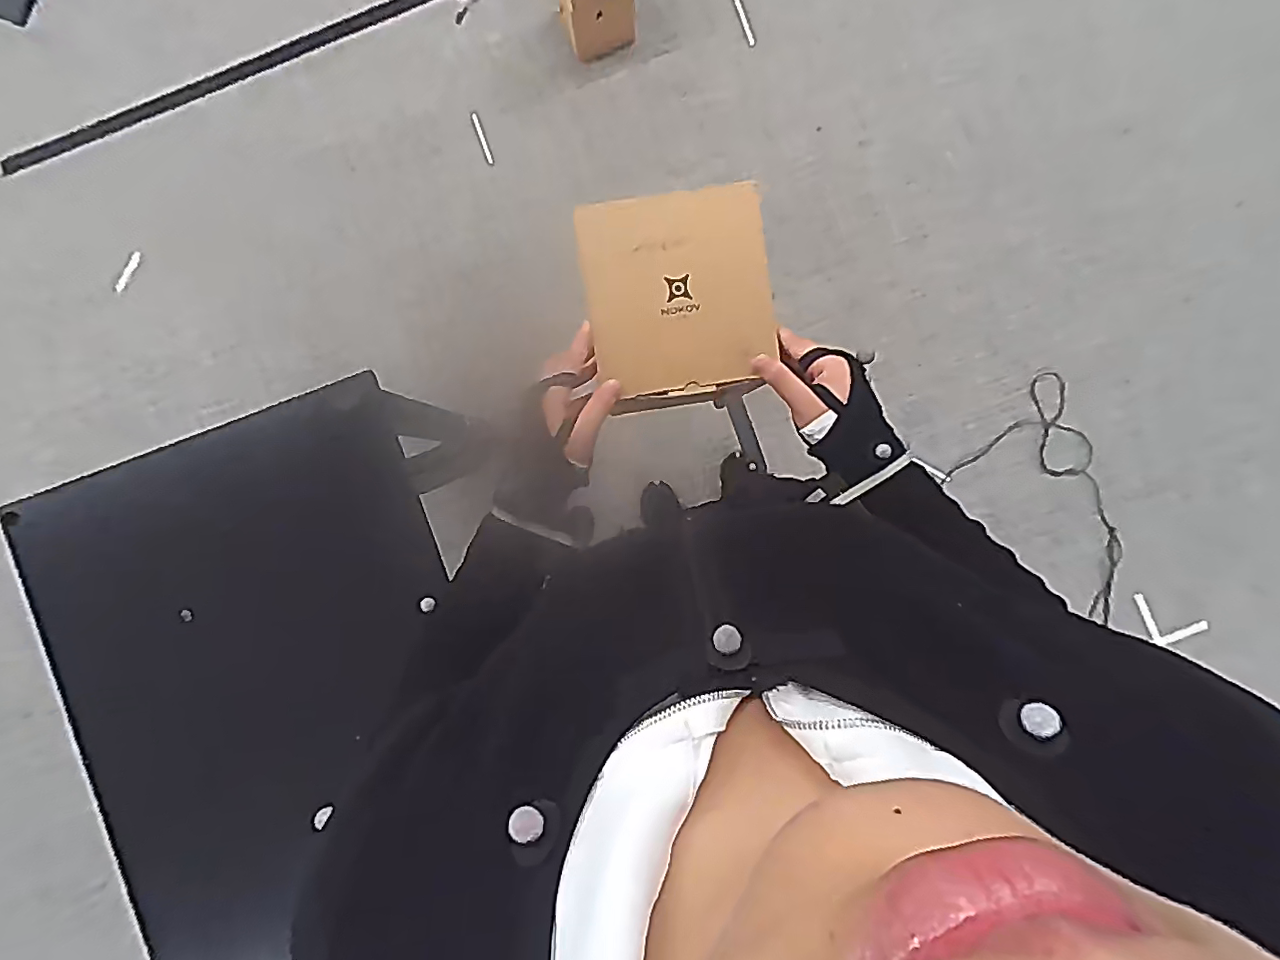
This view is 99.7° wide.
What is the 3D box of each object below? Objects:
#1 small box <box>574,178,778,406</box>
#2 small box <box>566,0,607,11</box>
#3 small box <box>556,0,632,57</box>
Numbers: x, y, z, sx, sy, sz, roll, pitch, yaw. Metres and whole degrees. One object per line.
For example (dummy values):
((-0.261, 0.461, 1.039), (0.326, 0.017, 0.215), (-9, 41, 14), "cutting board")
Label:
((0.032, -0.174, 0.560), (0.168, 0.176, 0.179), (-9, 93, -1), "small box")
((-0.126, -1.272, 1.268), (0.168, 0.176, 0.179), (-20, 91, 1), "small box")
((-0.129, -1.277, 1.432), (0.179, 0.176, 0.168), (-20, 90, 0), "small box")
